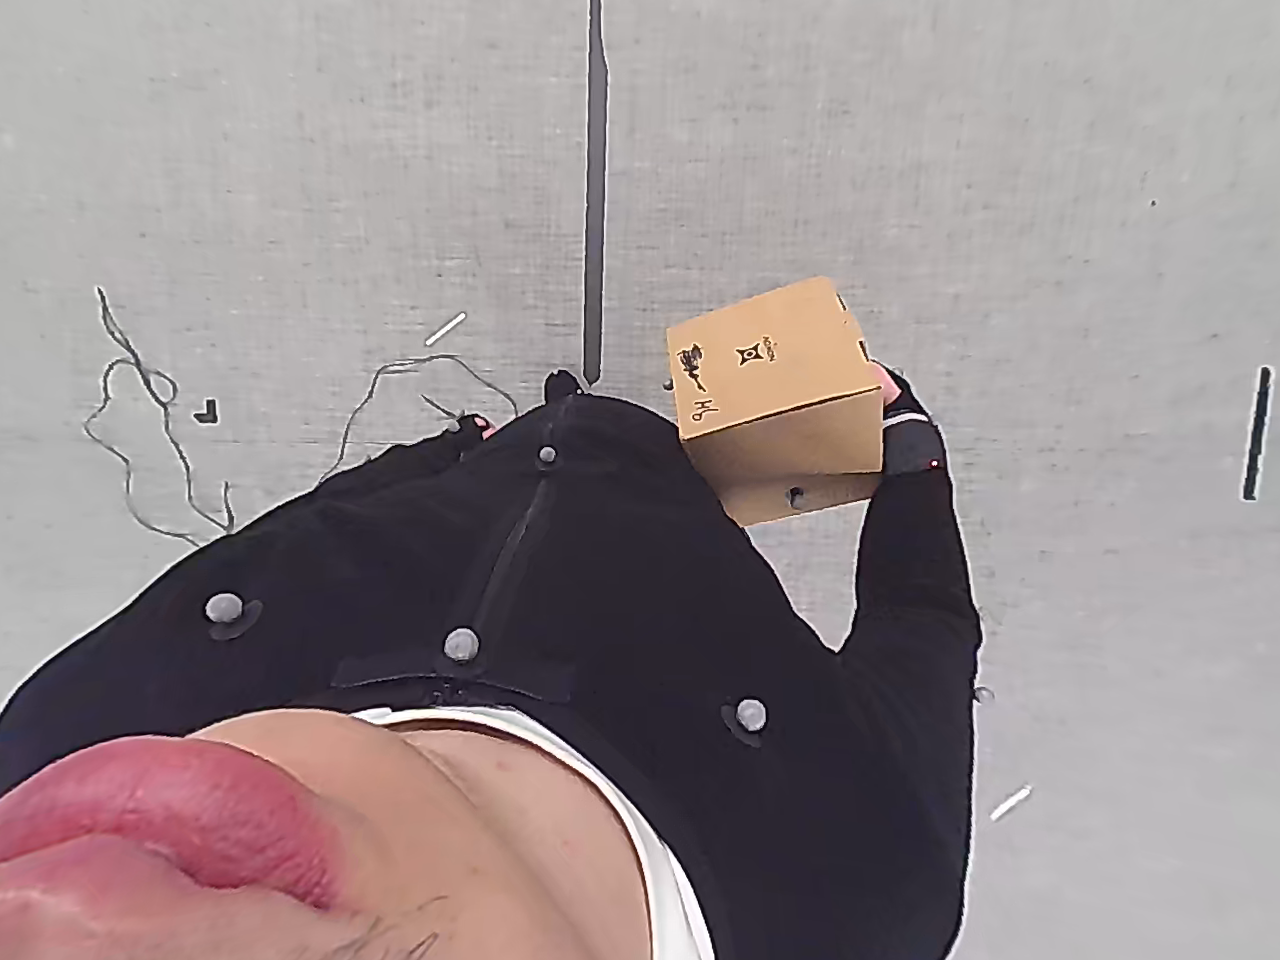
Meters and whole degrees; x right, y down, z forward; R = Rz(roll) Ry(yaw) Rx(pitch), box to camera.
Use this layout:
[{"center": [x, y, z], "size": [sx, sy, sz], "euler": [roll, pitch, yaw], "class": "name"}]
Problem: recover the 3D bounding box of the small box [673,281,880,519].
[{"center": [0.146, -0.079, 0.592], "size": [0.179, 0.168, 0.176], "euler": [-14, 140, 13], "class": "small box"}]
